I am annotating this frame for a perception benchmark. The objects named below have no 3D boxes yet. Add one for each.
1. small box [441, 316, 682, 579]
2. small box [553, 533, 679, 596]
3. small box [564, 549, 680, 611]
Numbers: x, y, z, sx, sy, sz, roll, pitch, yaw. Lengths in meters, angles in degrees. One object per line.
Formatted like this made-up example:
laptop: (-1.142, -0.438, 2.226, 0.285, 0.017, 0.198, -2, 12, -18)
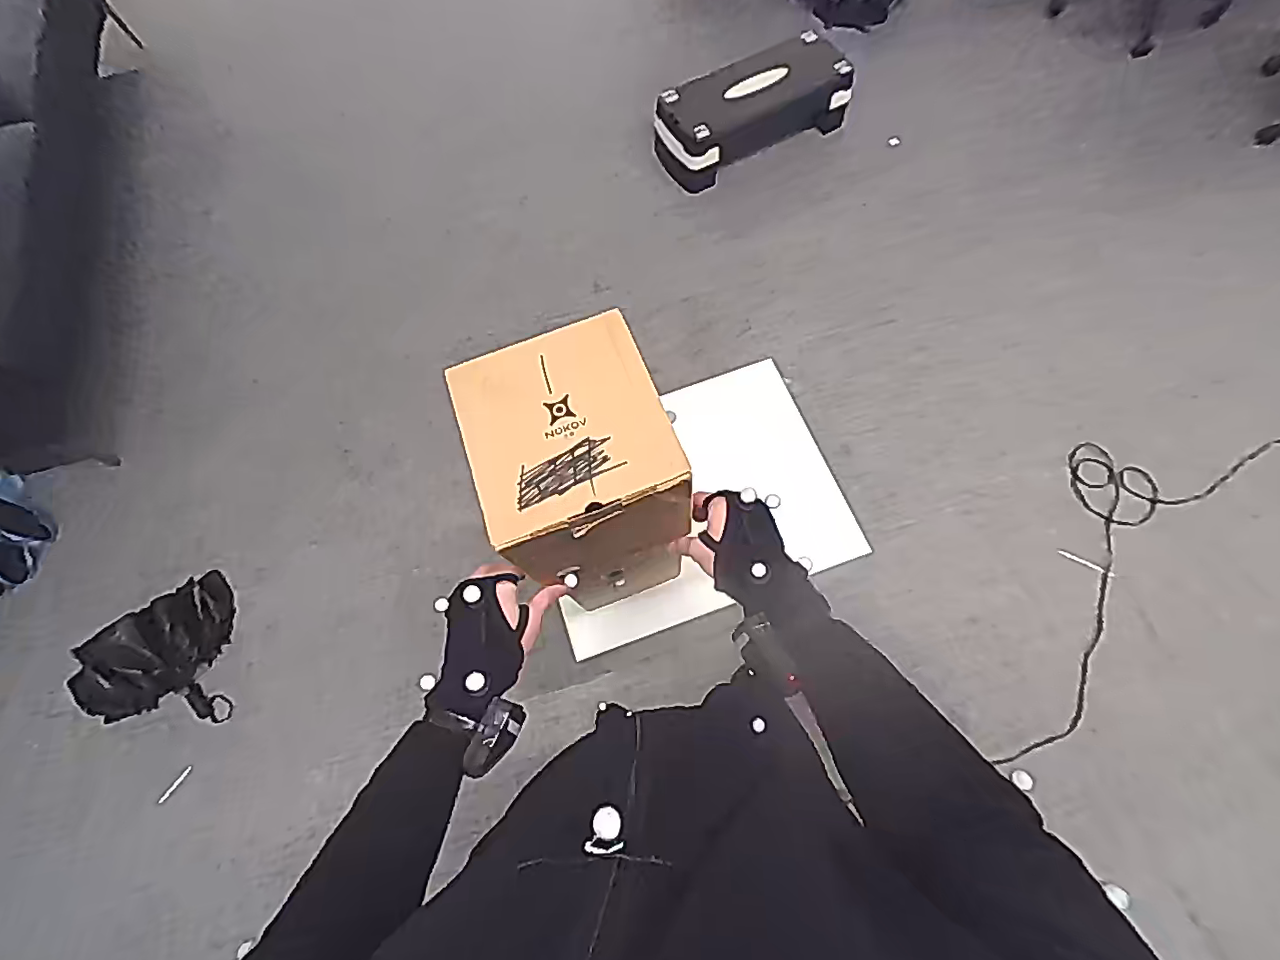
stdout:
small box: (-0.063, -0.016, 0.521, 0.168, 0.176, 0.179, -21, 67, -3)
small box: (-0.058, 0.027, 0.681, 0.168, 0.176, 0.179, -22, 70, -4)
small box: (-0.047, 0.085, 0.834, 0.168, 0.176, 0.179, -20, 70, -4)
